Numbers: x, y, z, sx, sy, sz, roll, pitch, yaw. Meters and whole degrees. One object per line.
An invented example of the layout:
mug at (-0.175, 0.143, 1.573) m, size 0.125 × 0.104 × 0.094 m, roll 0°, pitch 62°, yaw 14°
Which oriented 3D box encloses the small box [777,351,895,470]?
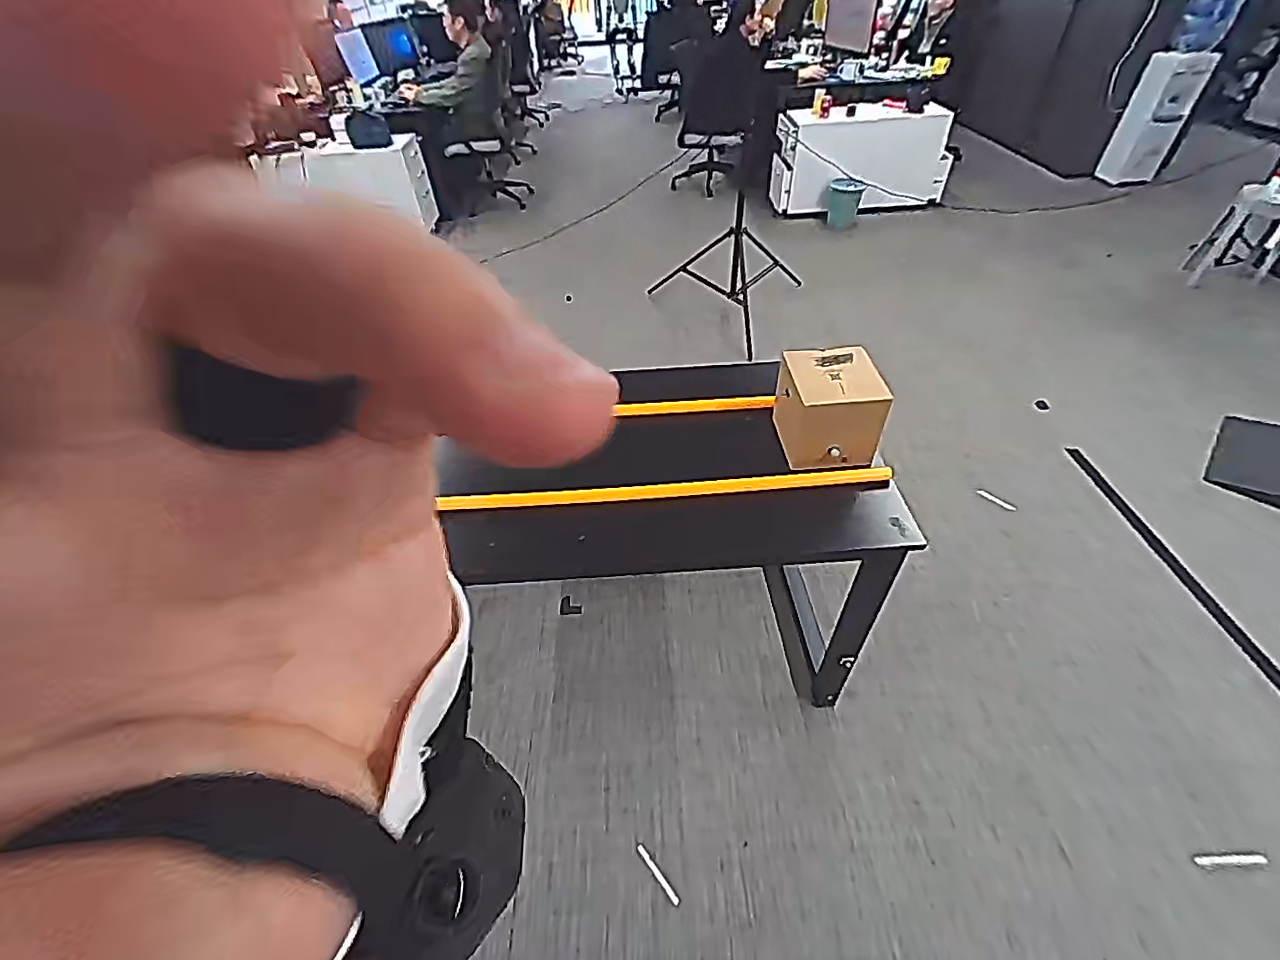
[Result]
small box at (0.383, -0.140, 1.096) m, size 0.168 × 0.176 × 0.179 m, roll -4°, pitch 45°, yaw 1°
